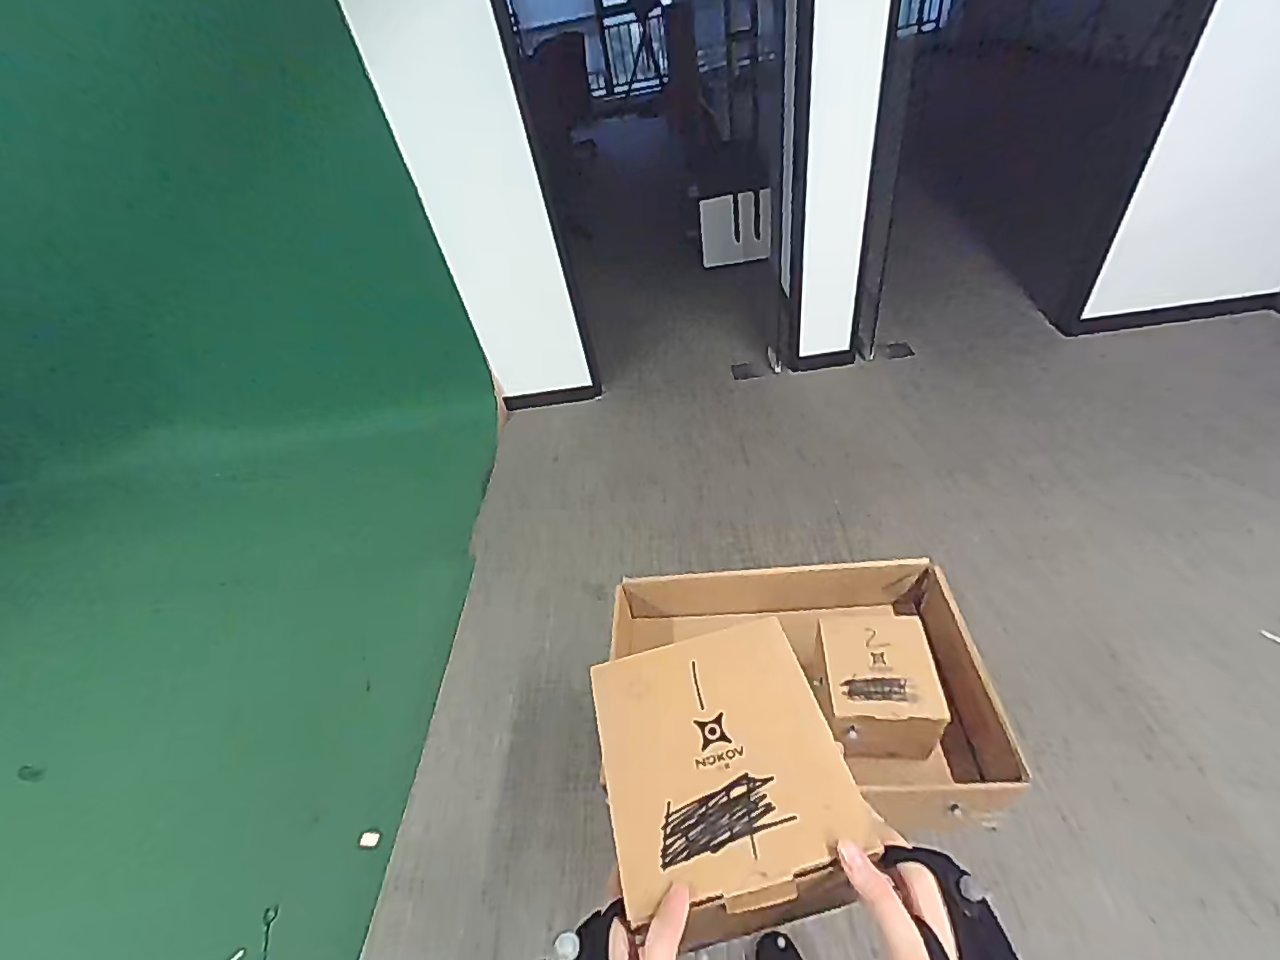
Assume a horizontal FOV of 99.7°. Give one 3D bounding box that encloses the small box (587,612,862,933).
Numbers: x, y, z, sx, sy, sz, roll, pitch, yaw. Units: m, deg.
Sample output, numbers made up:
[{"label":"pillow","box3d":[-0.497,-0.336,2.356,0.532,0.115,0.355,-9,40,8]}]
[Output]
[{"label":"small box","box3d":[0.063,0.246,0.451,0.168,0.176,0.179,-15,41,-1]}]
